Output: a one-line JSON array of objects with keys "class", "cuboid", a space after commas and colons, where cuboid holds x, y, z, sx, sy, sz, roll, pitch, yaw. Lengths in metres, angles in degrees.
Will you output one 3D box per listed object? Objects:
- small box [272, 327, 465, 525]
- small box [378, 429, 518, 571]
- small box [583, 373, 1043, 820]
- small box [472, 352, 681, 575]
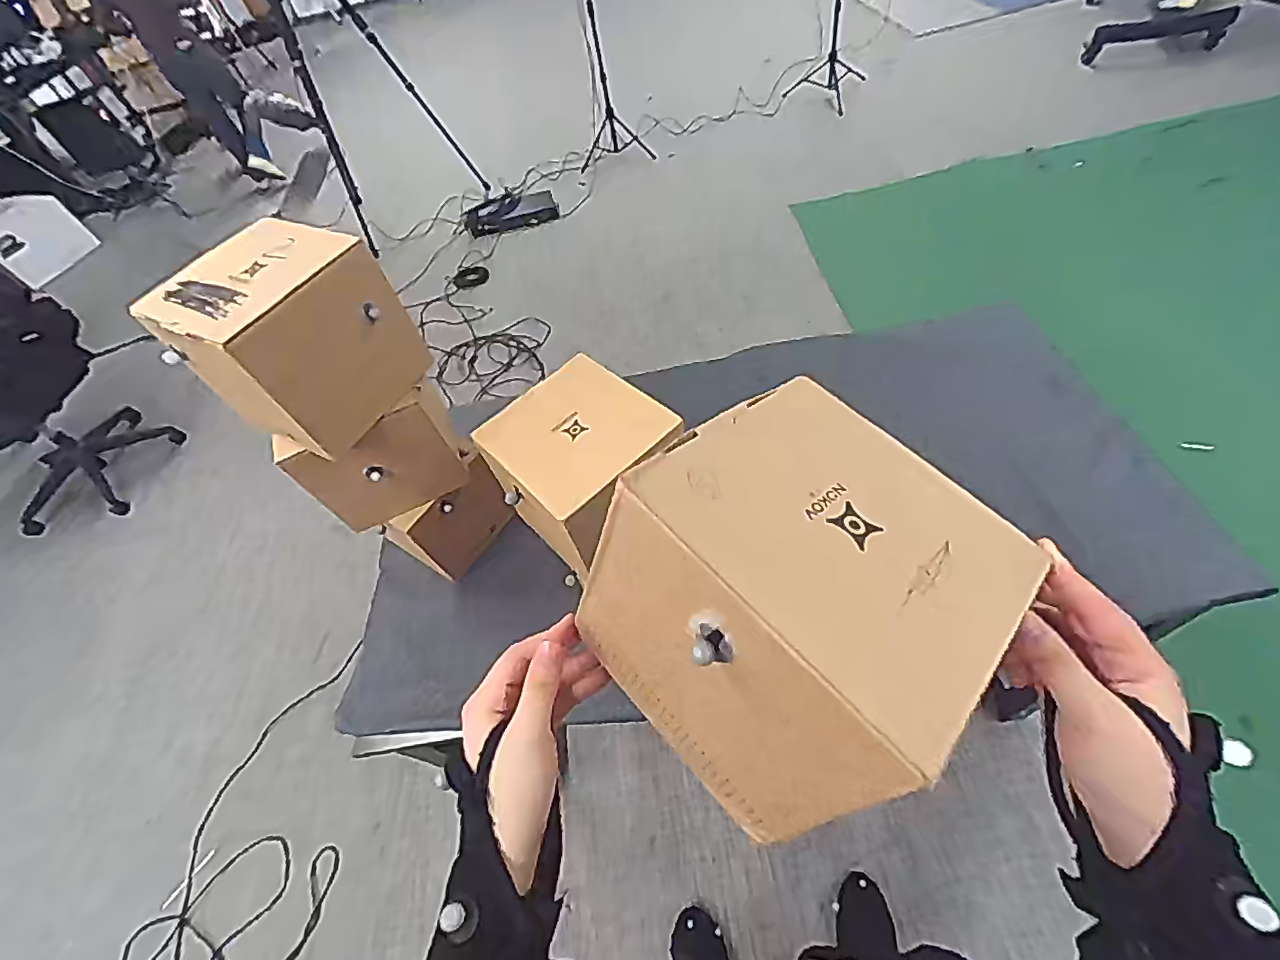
[{"class": "small box", "cuboid": [-0.359, -0.070, 0.740, 0.179, 0.176, 0.168, -26, 55, -7]}, {"class": "small box", "cuboid": [-0.332, 0.021, 0.875, 0.179, 0.176, 0.168, 24, 63, 25]}, {"class": "small box", "cuboid": [0.084, 0.071, 0.333, 0.168, 0.176, 0.179, -33, 67, -34]}, {"class": "small box", "cuboid": [-0.058, -0.011, 0.638, 0.168, 0.176, 0.179, -41, 57, -17]}]
